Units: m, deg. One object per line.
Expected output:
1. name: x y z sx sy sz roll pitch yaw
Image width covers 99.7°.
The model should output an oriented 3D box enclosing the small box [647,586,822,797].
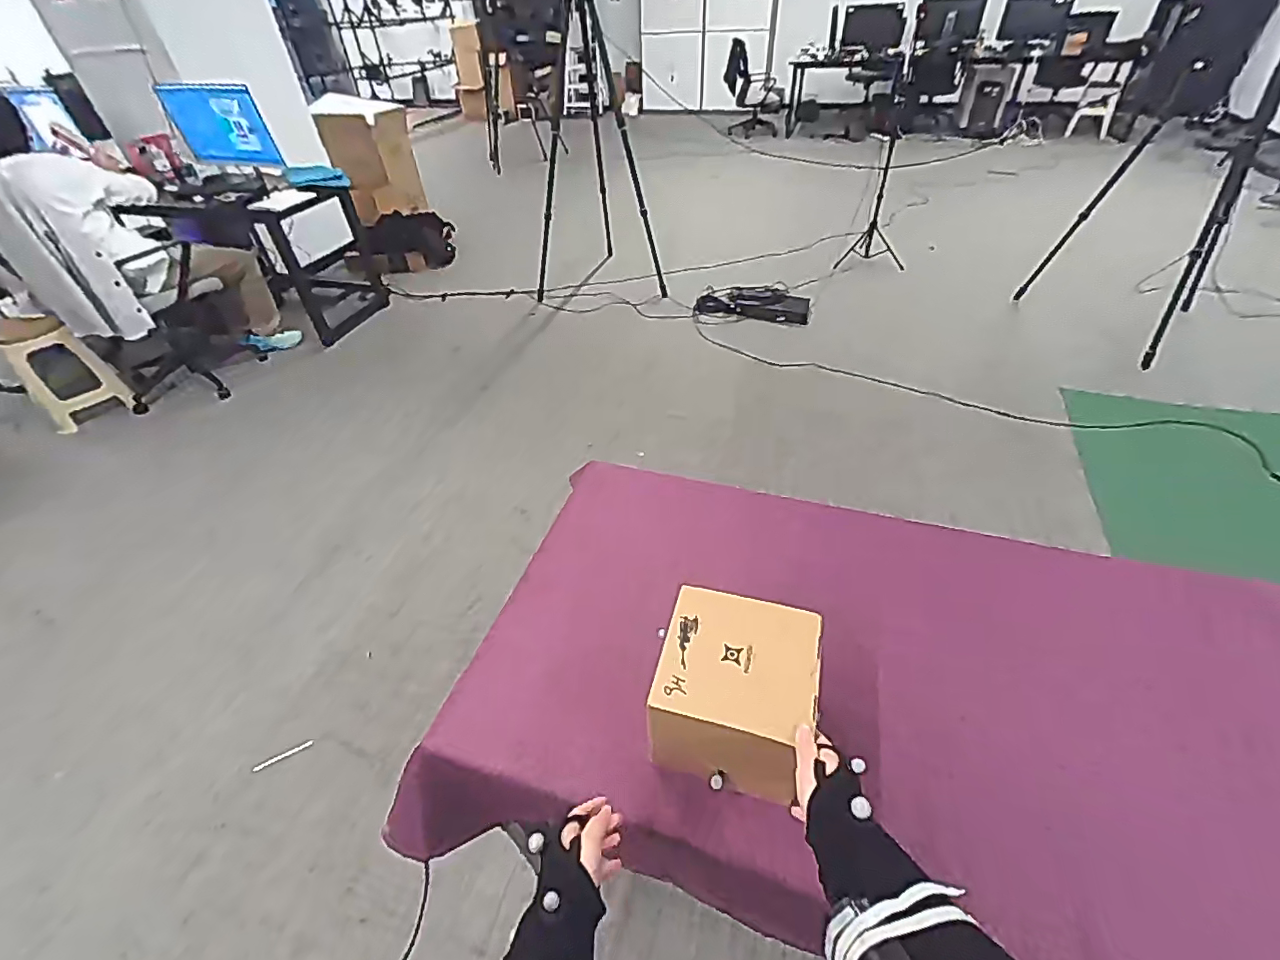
1. small box: 0.113 0.263 0.667 0.179 0.176 0.168 11 44 13
